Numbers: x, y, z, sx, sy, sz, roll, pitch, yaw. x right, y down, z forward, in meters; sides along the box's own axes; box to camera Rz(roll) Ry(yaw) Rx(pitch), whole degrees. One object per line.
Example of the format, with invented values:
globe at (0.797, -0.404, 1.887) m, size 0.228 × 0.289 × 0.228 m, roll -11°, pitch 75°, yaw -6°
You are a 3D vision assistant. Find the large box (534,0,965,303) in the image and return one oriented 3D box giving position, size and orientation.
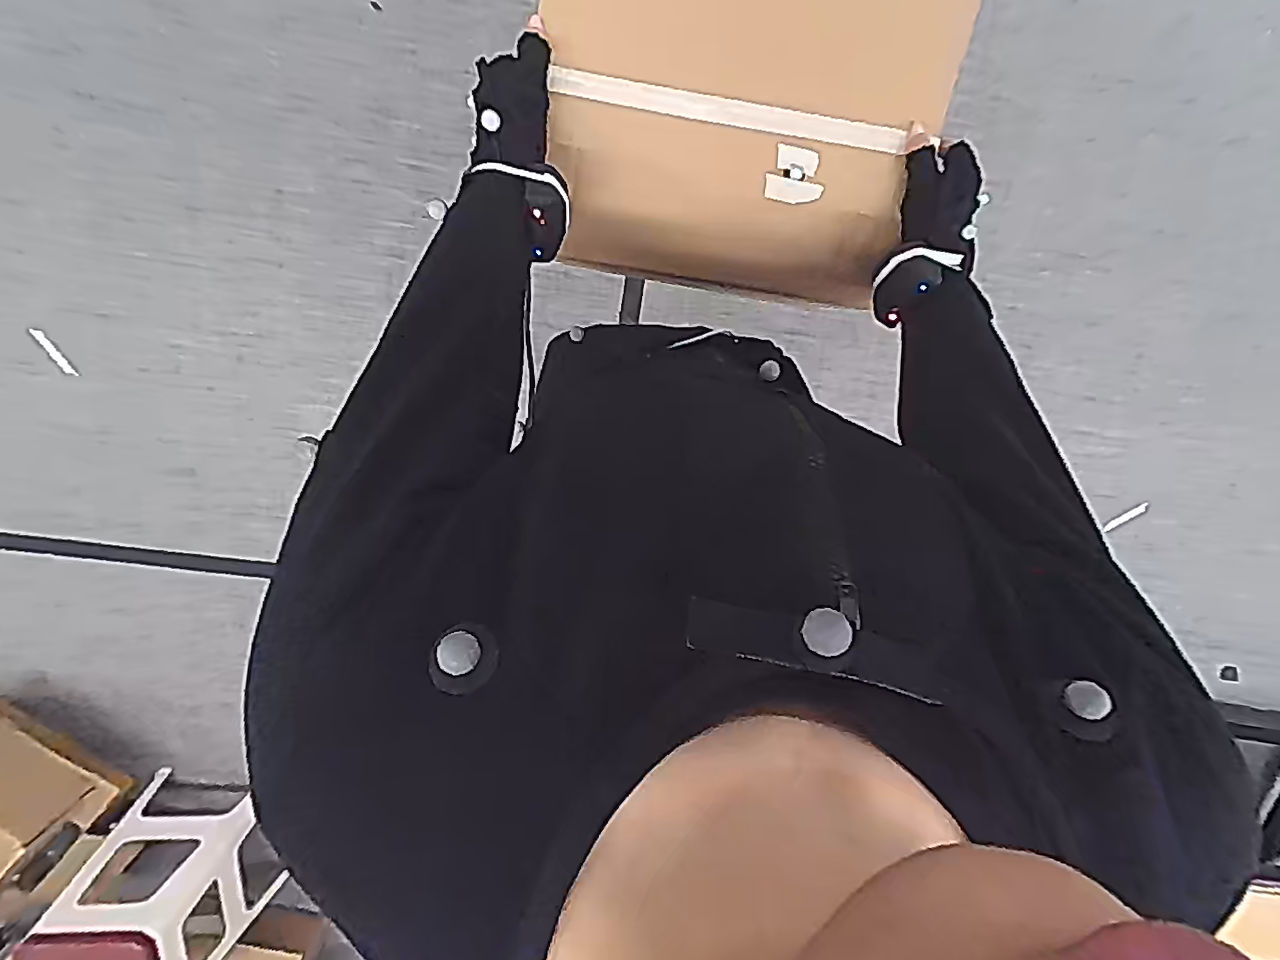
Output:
large box at (0.095, -0.417, 0.691) m, size 0.408 × 0.320 × 0.320 m, roll 8°, pitch 110°, yaw -4°
